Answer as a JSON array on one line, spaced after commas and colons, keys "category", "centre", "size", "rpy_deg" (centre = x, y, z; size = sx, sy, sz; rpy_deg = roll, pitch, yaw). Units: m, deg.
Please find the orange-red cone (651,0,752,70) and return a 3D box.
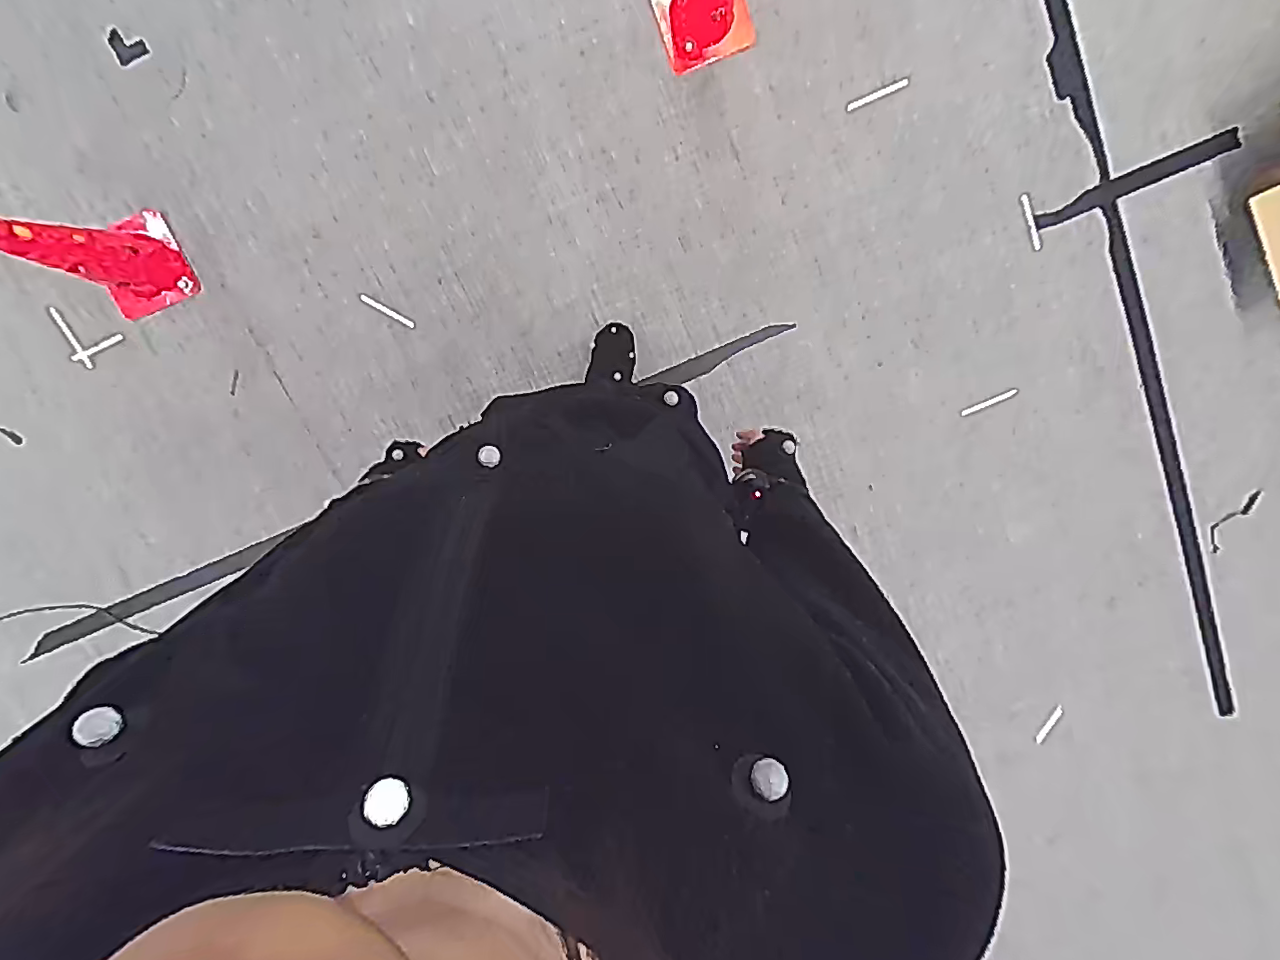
[{"category": "orange-red cone", "centre": [0.143, -1.004, 1.028], "size": [0.199, 0.360, 0.198], "rpy_deg": [-20, 102, 1]}]
